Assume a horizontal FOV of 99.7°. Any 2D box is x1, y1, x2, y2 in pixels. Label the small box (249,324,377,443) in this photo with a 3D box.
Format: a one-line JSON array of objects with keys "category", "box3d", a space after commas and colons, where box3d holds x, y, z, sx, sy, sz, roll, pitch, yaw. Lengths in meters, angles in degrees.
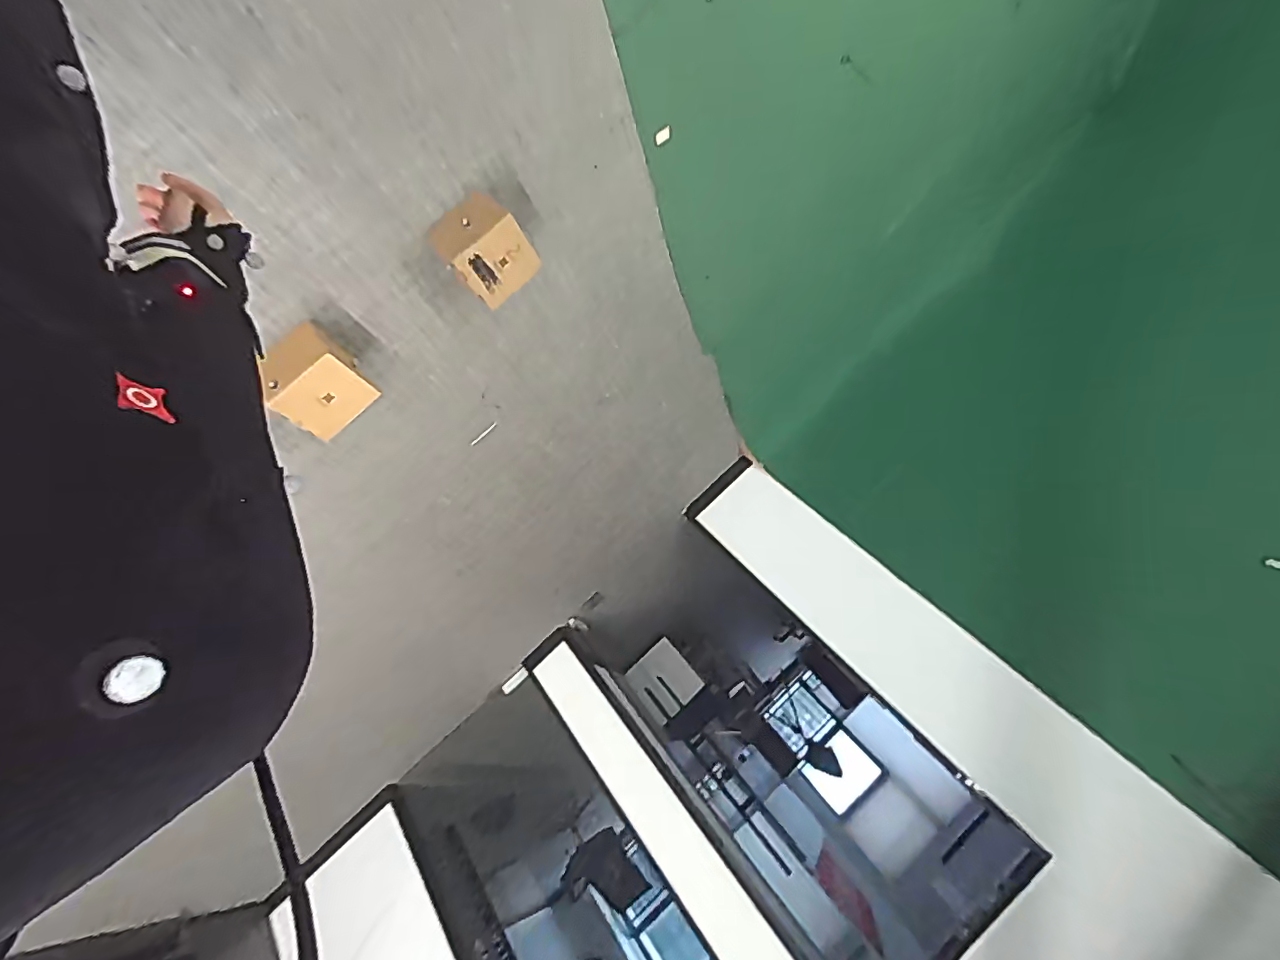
[{"category": "small box", "box3d": [-0.761, -0.227, 1.255, 0.179, 0.176, 0.168, -43, 149, -4]}]
